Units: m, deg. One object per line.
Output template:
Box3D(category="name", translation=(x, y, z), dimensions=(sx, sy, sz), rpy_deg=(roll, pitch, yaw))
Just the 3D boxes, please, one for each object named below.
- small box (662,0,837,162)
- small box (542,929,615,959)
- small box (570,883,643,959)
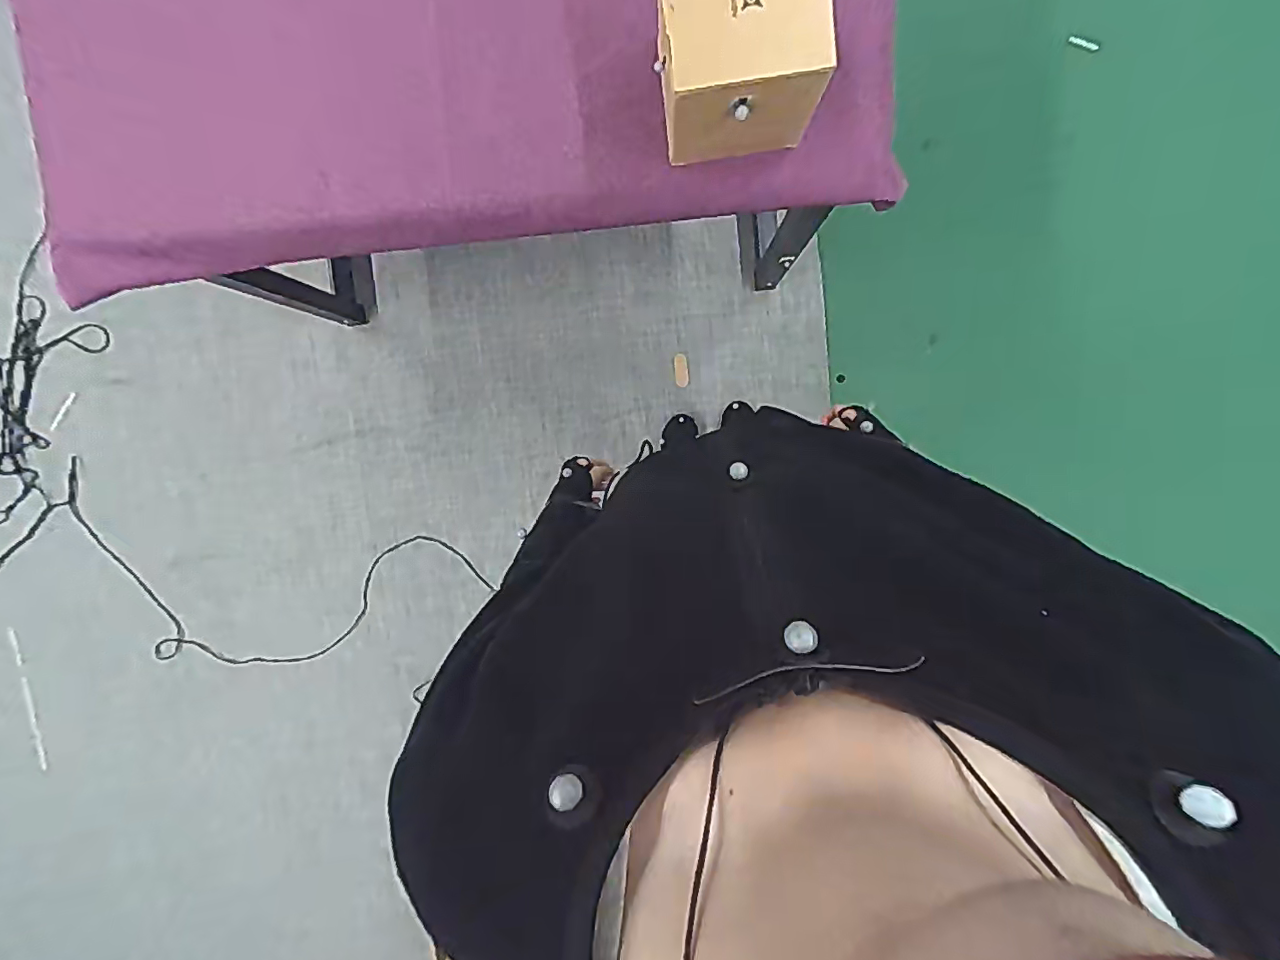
Box3D(category="small box", translation=(0.121, -0.514, 0.649), dimensions=(0.179, 0.176, 0.168), rpy_deg=(-6, 96, 6))
Box3D(category="small box", translation=(-0.157, 1.277, 1.360), dimensions=(0.168, 0.176, 0.179), rpy_deg=(-12, 92, 8))
Box3D(category="small box", translation=(-0.091, 1.275, 1.518), dimensions=(0.179, 0.176, 0.168), rpy_deg=(-11, 93, 7))
